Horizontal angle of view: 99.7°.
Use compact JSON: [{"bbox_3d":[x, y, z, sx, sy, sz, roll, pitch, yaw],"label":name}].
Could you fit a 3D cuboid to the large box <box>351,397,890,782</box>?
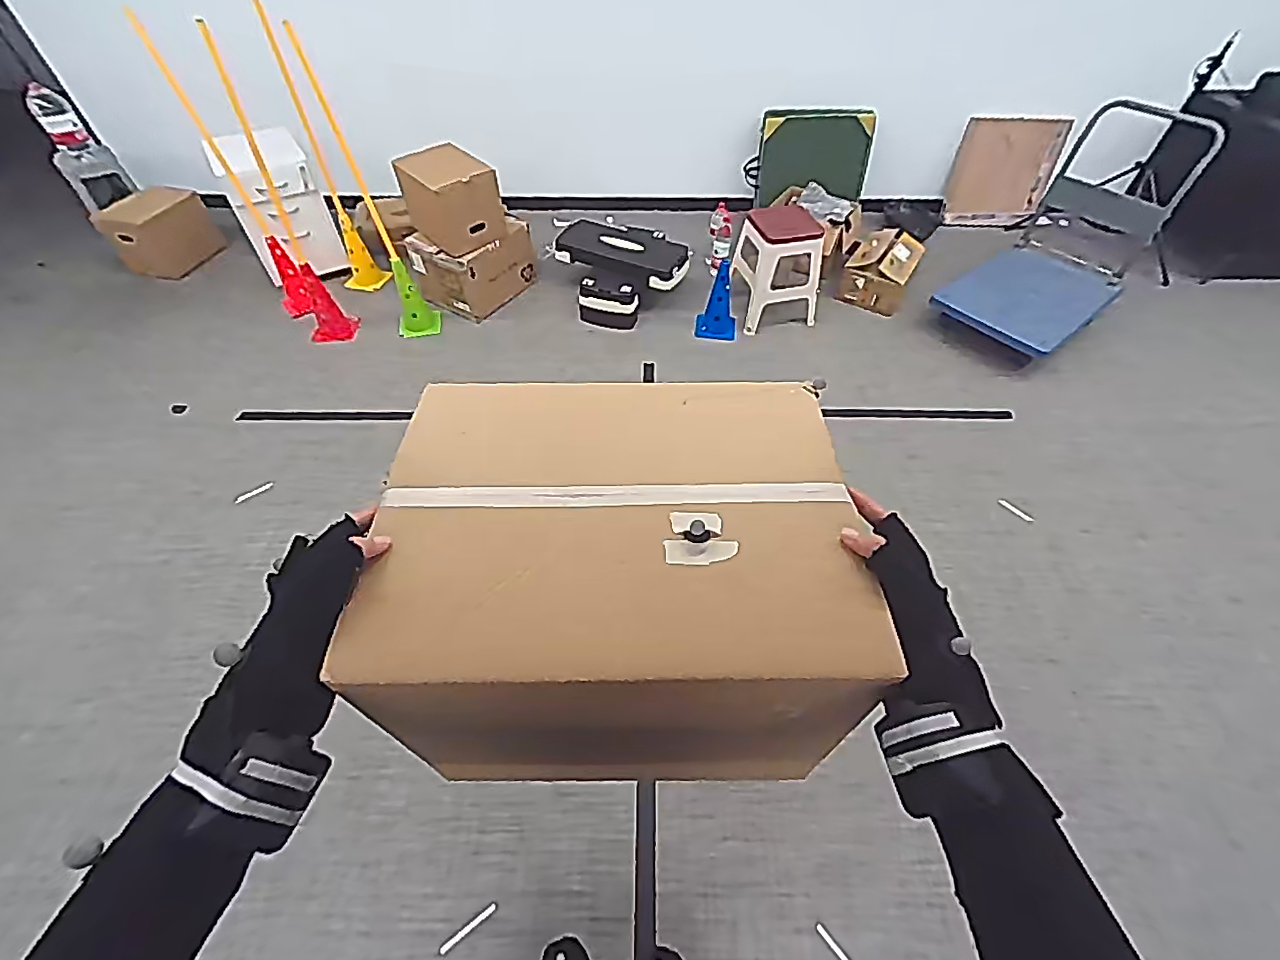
[{"bbox_3d":[-0.017,0.124,0.600,0.408,0.320,0.320,0,50,0],"label":"large box"}]
